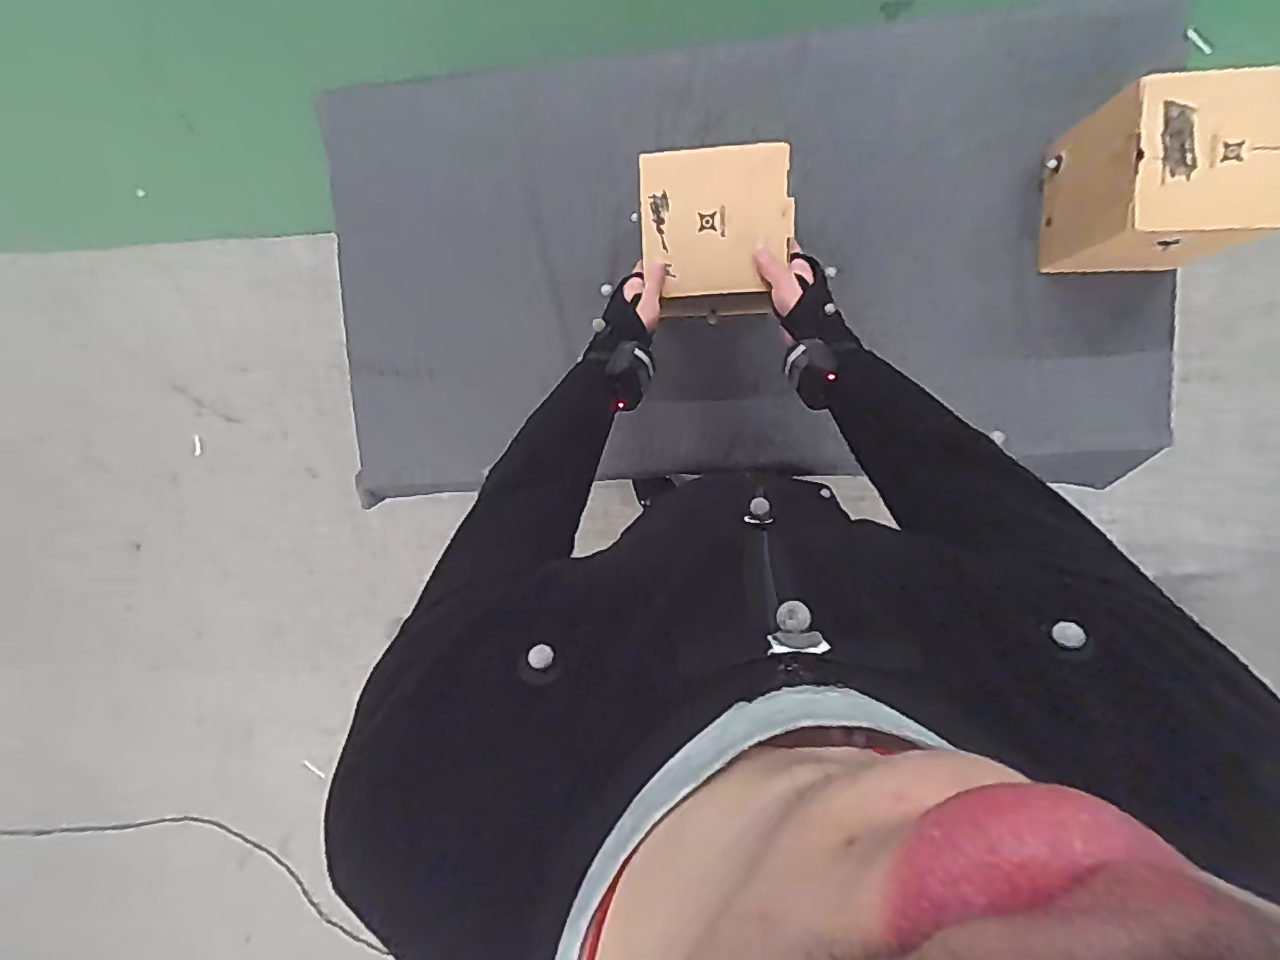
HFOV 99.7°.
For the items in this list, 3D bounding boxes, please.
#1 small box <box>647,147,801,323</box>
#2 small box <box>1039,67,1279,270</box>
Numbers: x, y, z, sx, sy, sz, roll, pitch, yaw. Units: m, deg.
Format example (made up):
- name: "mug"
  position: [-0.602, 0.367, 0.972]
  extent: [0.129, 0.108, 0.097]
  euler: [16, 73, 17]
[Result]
- name: "small box"
  position: [0.099, -0.302, 0.700]
  extent: [0.179, 0.176, 0.168]
  euler: [-3, 98, 2]
- name: "small box"
  position: [0.636, -0.366, 0.667]
  extent: [0.179, 0.176, 0.168]
  euler: [-1, 96, 3]
